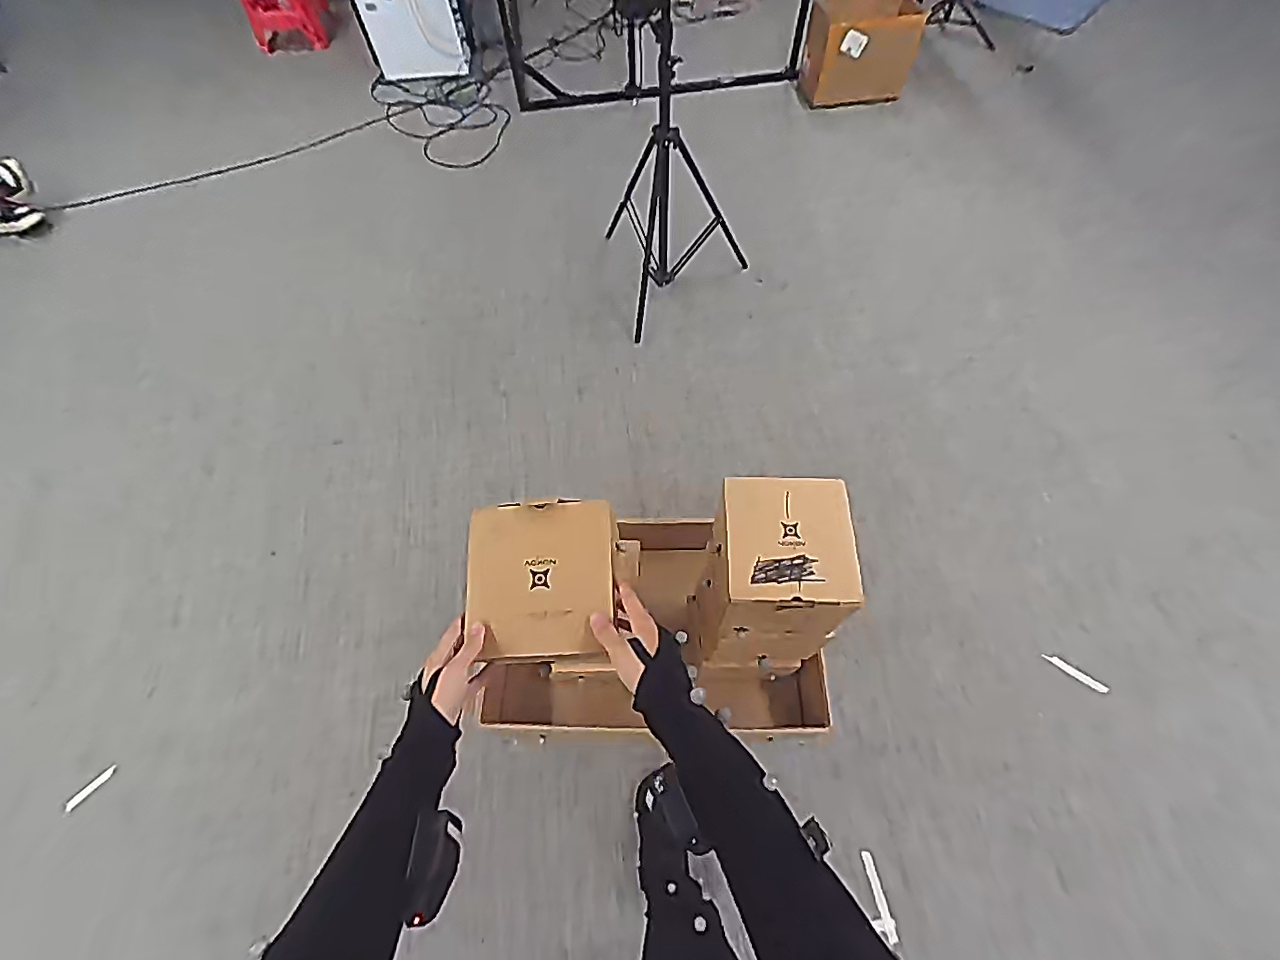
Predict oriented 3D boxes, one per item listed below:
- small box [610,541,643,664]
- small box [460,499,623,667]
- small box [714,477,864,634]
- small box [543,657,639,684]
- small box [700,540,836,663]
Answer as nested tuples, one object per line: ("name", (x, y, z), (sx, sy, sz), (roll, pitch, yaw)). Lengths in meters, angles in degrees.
("small box", (-0.085, 0.209, 0.905), (0.179, 0.176, 0.168), (0, 61, 1))
("small box", (-0.109, 0.134, 0.669), (0.168, 0.176, 0.179), (-3, 70, 1))
("small box", (0.195, 0.112, 0.759), (0.168, 0.176, 0.179), (1, 61, 2))
("small box", (-0.086, 0.295, 1.046), (0.168, 0.176, 0.179), (-1, 61, 0))
("small box", (0.200, 0.204, 0.897), (0.179, 0.176, 0.168), (-2, 61, 0))
